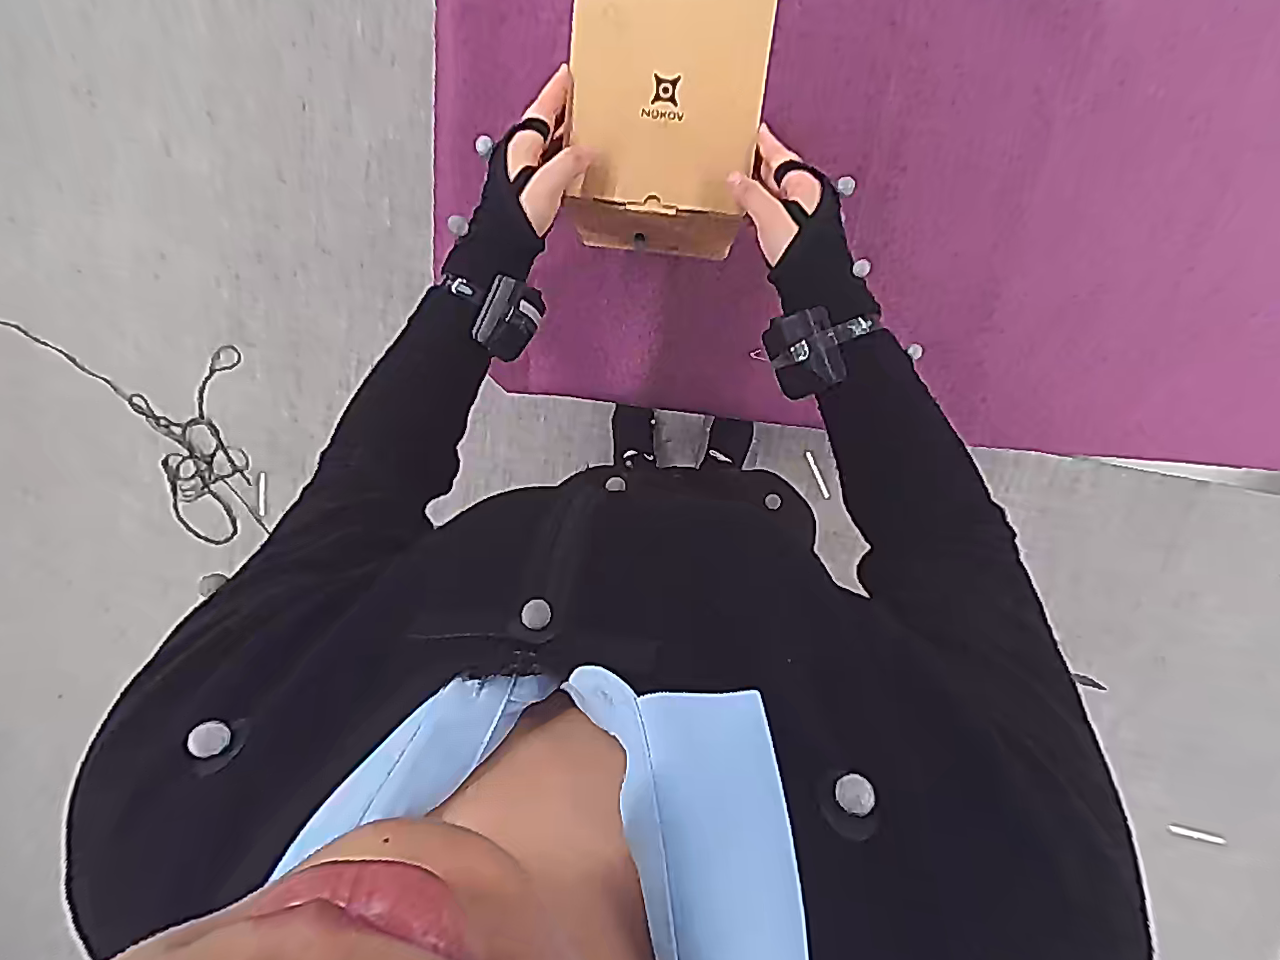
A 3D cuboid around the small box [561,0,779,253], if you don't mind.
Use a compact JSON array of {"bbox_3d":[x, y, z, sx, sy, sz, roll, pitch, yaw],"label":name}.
[{"bbox_3d":[0.024,-0.338,0.526,0.168,0.176,0.179,7,102,1],"label":"small box"}]
